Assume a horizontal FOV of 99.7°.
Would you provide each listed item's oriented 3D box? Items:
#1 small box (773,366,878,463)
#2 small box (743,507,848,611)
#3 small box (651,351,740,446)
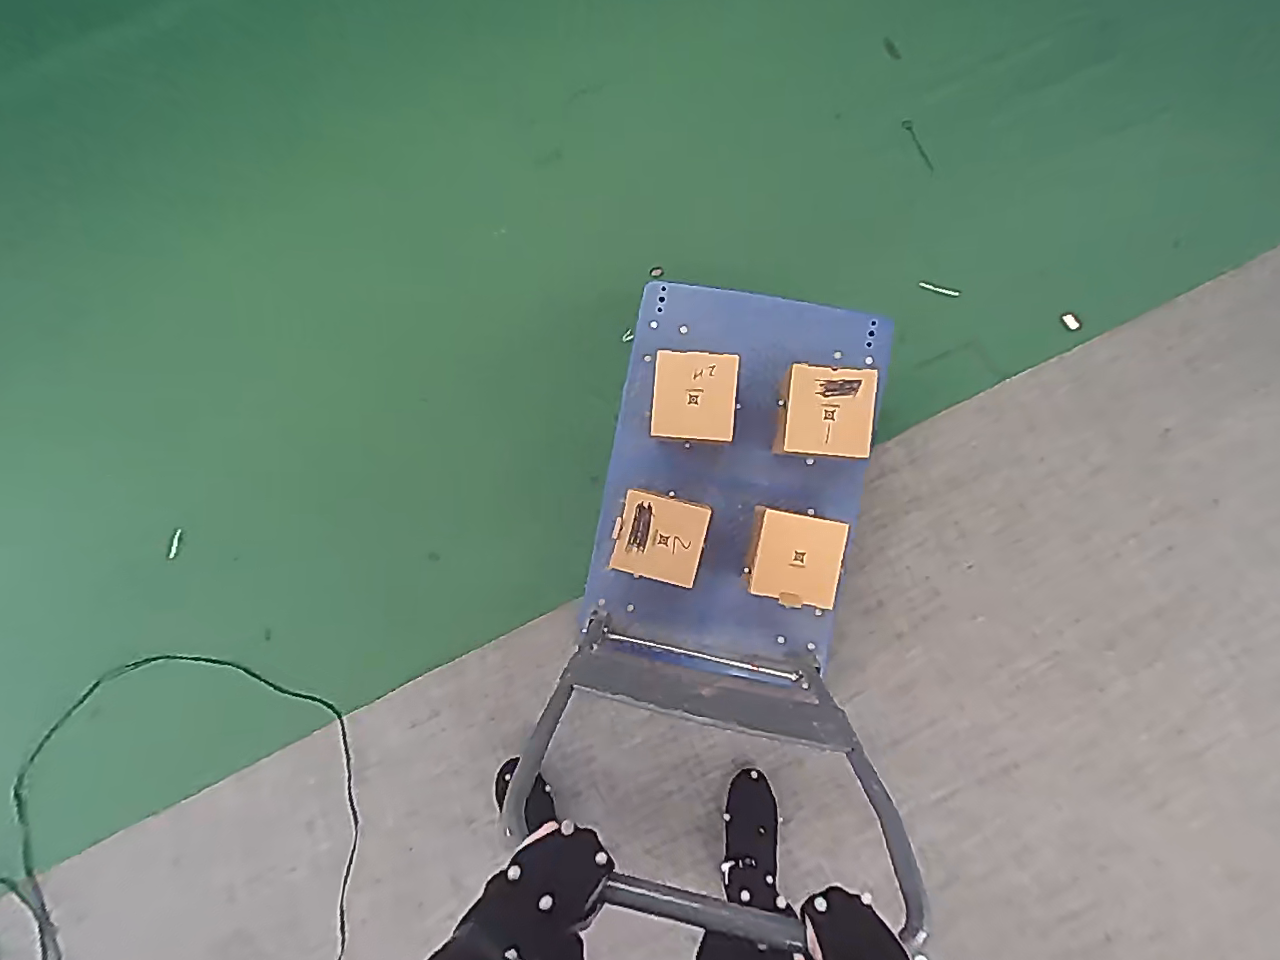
[{"bbox_3d":[0.383,-0.132,1.143,0.168,0.176,0.179,6,91,5],"label":"small box"},{"bbox_3d":[0.321,0.158,1.150,0.168,0.176,0.179,11,92,5],"label":"small box"},{"bbox_3d":[0.118,-0.168,1.164,0.168,0.176,0.179,5,91,4],"label":"small box"}]
